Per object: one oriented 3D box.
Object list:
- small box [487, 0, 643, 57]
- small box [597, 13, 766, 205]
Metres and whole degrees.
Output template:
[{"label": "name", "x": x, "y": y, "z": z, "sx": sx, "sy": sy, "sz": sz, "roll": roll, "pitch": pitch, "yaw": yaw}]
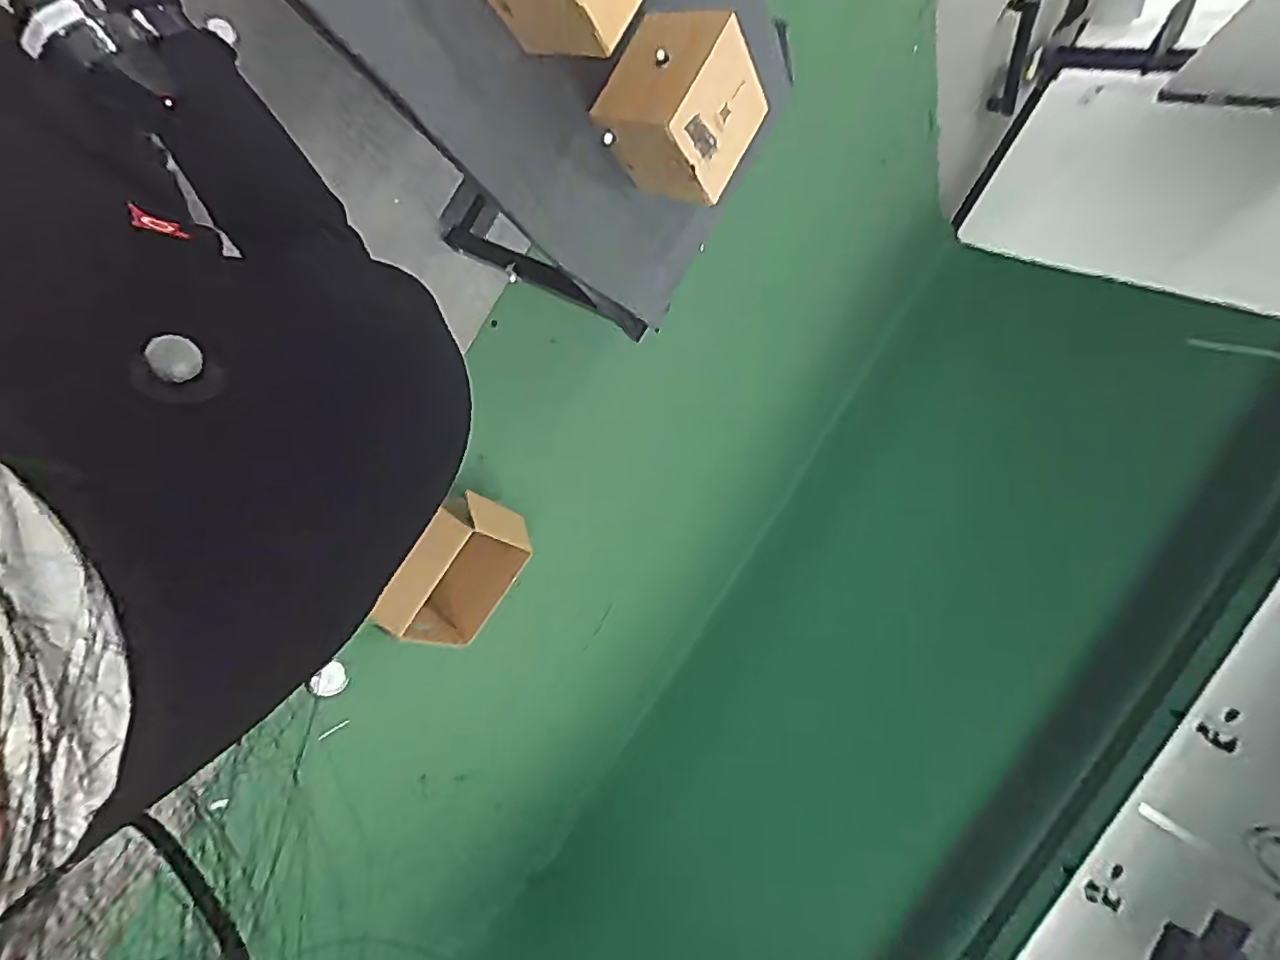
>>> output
[{"label": "small box", "x": -0.089, "y": -0.621, "z": 0.599, "sx": 0.179, "sy": 0.176, "sz": 0.168, "roll": -59, "pitch": 148, "yaw": 4}, {"label": "small box", "x": 0.059, "y": -0.565, "z": 0.834, "sx": 0.179, "sy": 0.176, "sz": 0.168, "roll": -60, "pitch": 147, "yaw": 3}]
